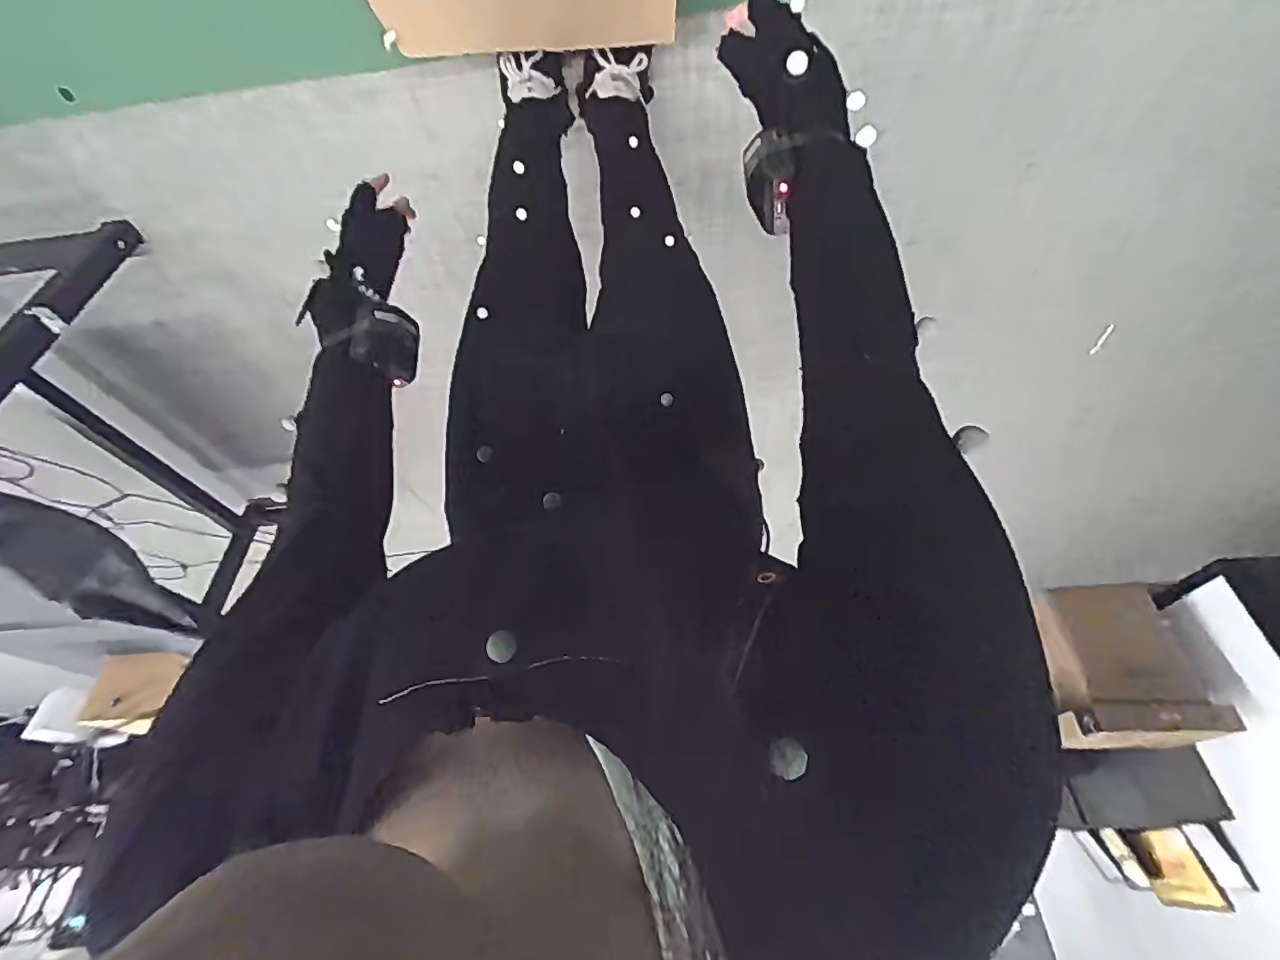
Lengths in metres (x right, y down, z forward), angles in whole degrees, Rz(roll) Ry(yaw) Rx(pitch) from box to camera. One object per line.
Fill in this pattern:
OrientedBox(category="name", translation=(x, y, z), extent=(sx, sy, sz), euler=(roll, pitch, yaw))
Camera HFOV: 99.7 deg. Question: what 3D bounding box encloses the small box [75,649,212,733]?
OrientedBox(category="small box", translation=(-1.296, 0.558, 1.428), extent=(0.179, 0.176, 0.168), euler=(-6, 144, 7))
